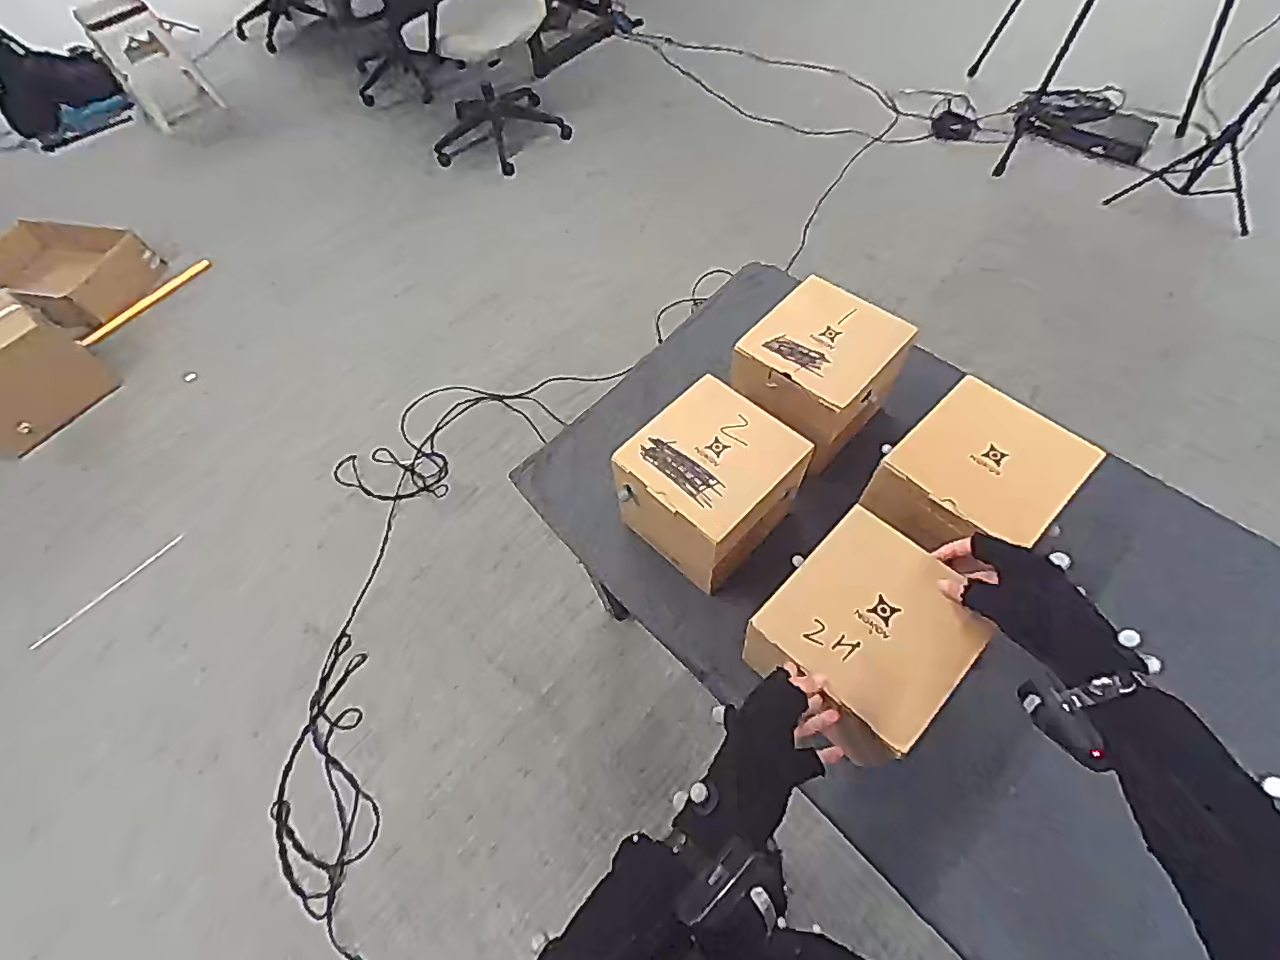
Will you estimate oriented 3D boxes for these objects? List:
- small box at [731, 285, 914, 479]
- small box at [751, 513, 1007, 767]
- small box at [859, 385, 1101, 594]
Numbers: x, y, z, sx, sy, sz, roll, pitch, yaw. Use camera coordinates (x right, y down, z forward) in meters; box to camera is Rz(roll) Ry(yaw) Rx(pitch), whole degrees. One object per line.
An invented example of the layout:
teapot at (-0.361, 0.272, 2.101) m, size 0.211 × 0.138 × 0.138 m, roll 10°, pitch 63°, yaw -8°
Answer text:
small box at (0.246, -0.133, 0.771) m, size 0.168 × 0.176 × 0.179 m, roll 39°, pitch 70°, yaw 23°
small box at (0.231, 0.174, 0.575) m, size 0.179 × 0.176 × 0.168 m, roll -42°, pitch 63°, yaw -16°
small box at (0.394, 0.025, 0.667) m, size 0.179 × 0.176 × 0.168 m, roll -41°, pitch 65°, yaw -16°
